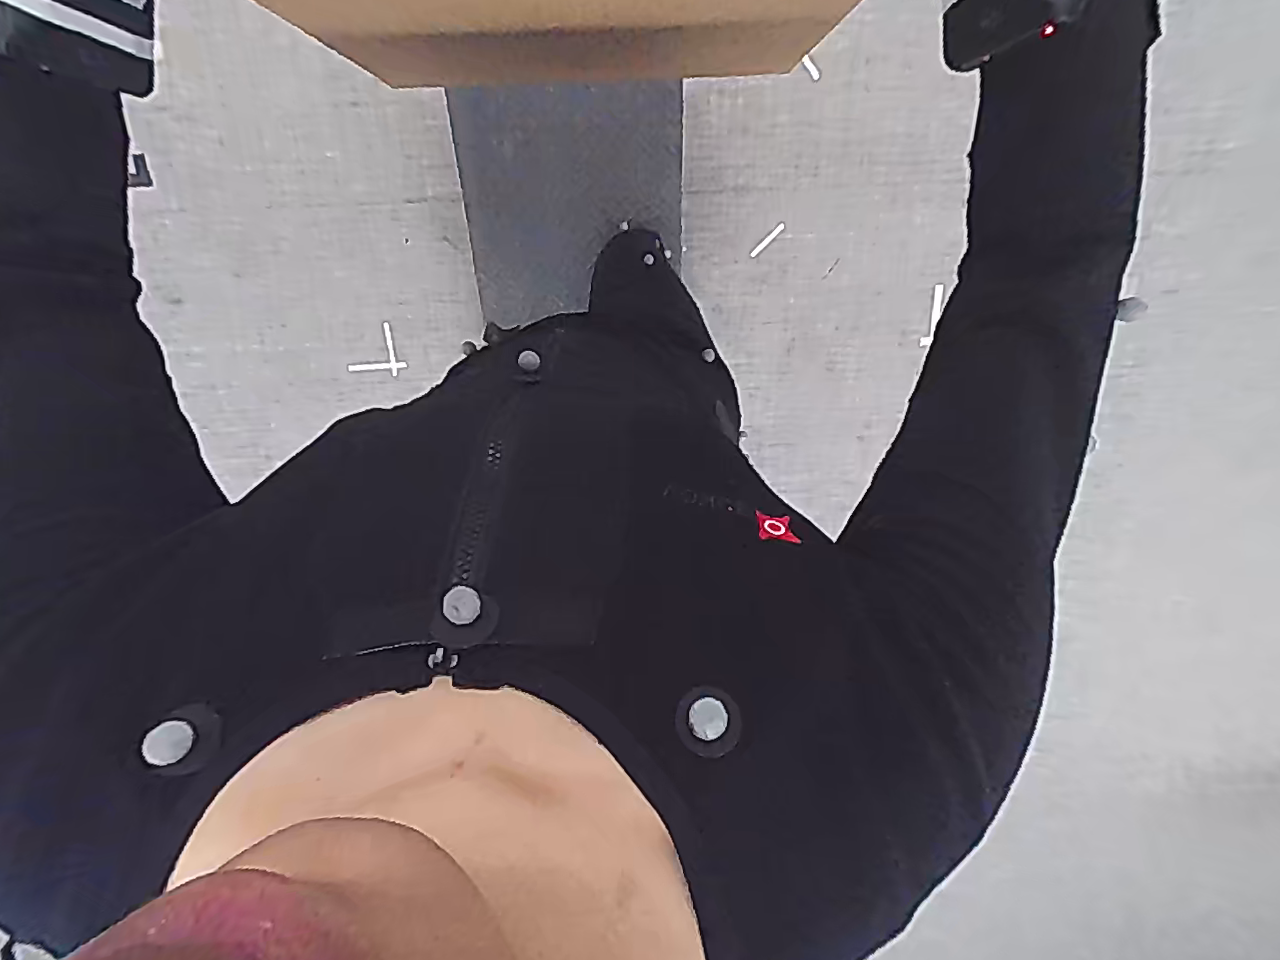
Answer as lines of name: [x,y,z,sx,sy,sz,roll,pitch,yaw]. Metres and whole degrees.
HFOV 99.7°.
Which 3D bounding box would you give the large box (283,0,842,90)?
large box: [-0.050,-0.486,0.350,0.408,0.320,0.320,-3,115,0]
